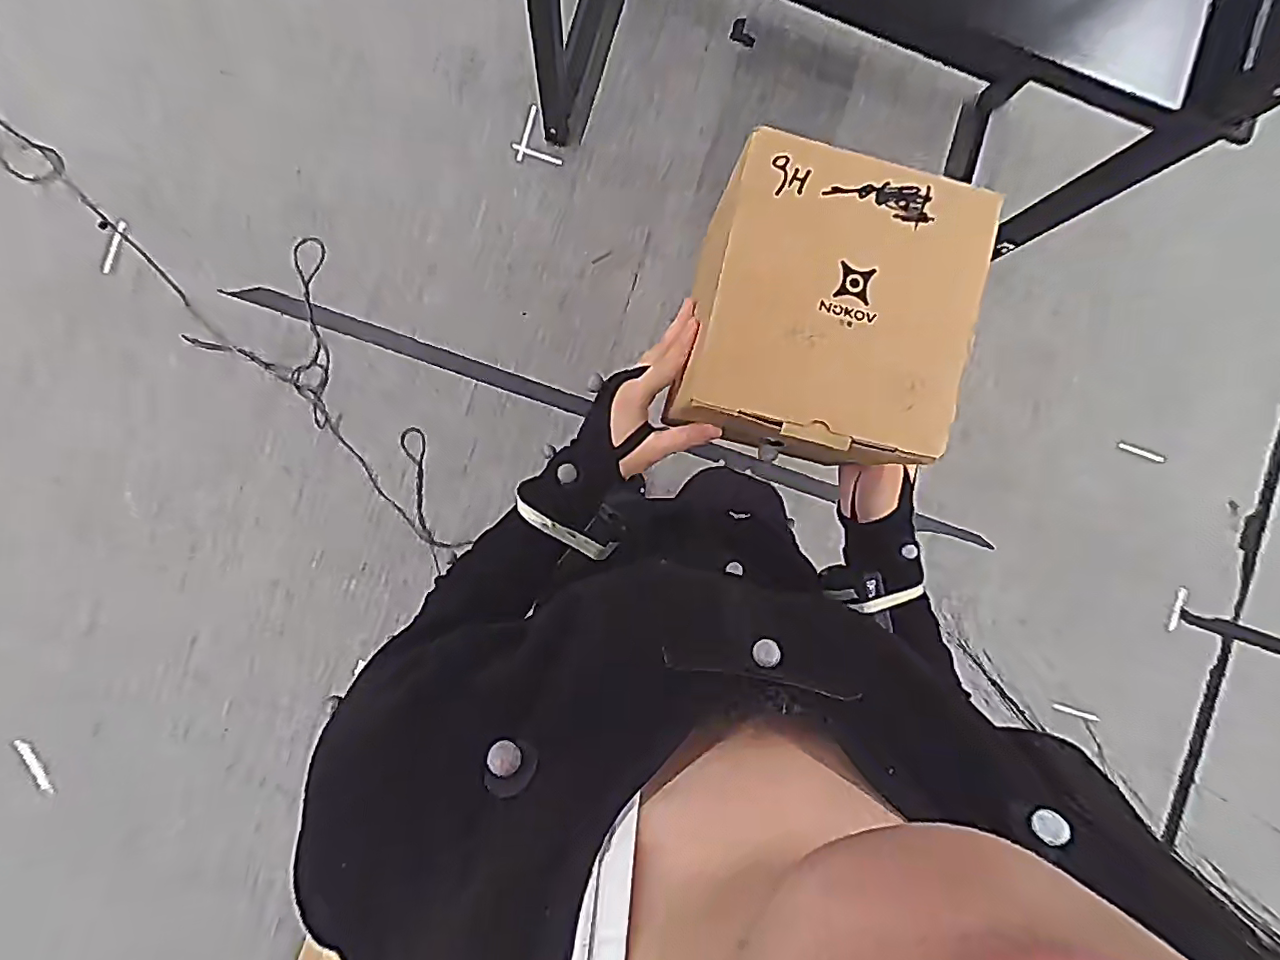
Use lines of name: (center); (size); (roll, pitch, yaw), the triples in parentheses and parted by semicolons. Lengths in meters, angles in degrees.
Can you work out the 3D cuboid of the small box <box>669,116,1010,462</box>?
small box: (0.123, -0.116, 0.406); (0.168, 0.176, 0.179); (13, 91, -5)
